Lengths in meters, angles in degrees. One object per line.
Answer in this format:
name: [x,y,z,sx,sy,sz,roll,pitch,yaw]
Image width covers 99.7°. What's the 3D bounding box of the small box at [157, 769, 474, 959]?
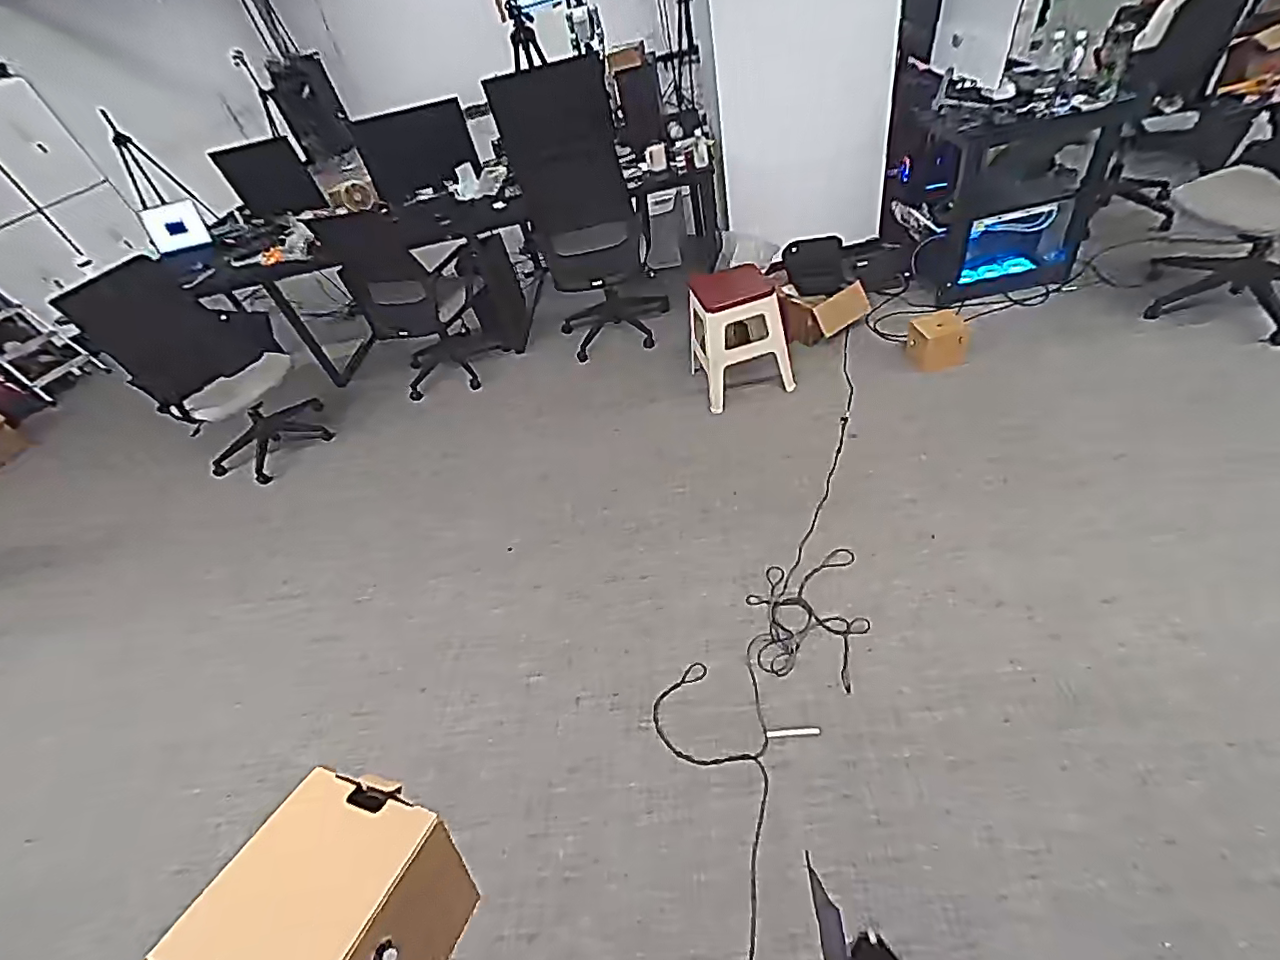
small box: [-0.286,0.428,0.521,0.168,0.176,0.179,6,31,21]
